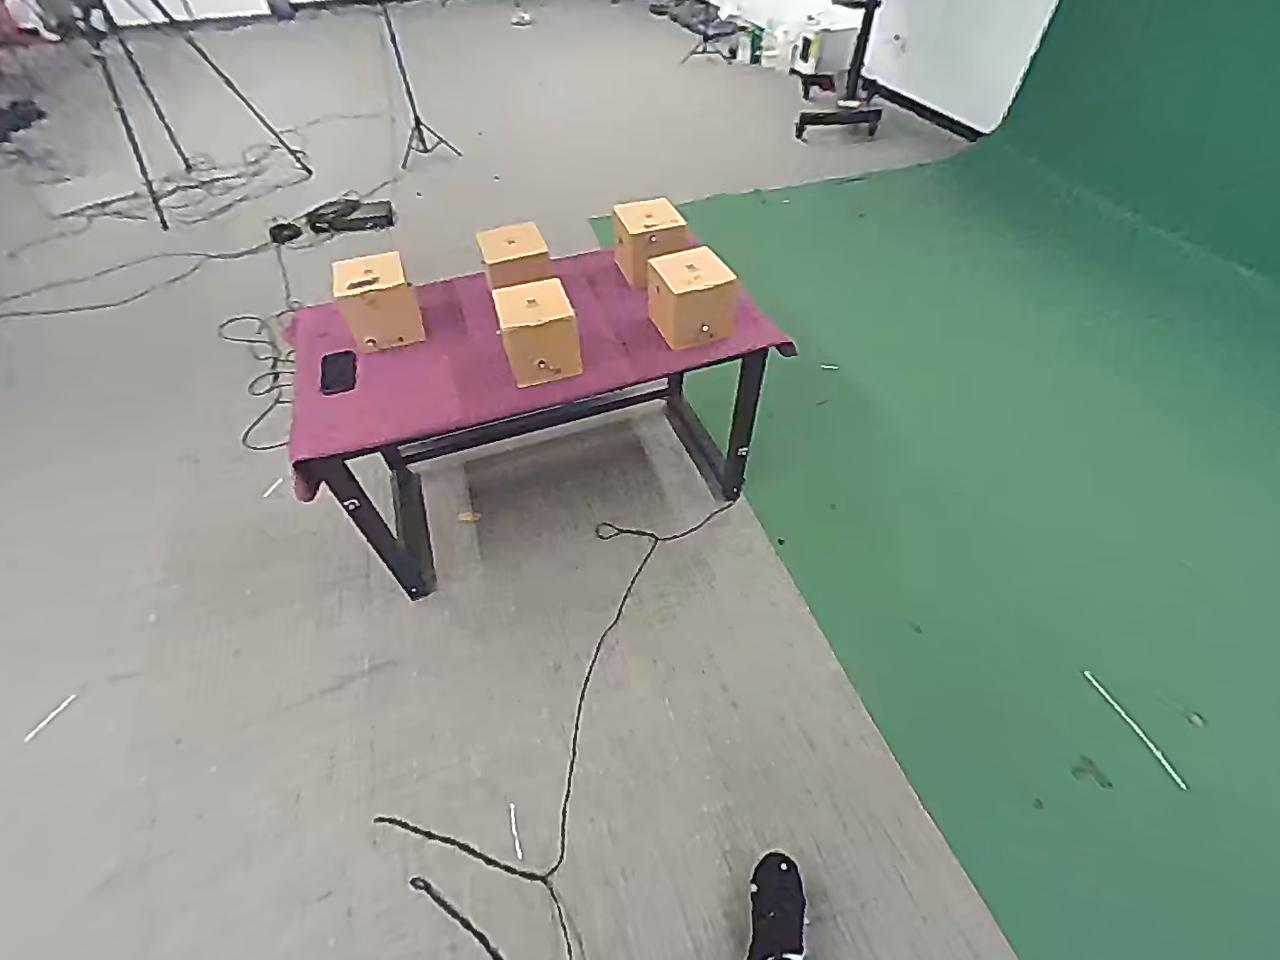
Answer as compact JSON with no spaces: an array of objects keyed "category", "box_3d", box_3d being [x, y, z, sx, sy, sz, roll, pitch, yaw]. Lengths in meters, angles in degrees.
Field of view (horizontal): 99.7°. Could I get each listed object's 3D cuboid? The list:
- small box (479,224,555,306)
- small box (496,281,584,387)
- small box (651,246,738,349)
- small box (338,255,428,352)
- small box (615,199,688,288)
[{"category":"small box","box_3d":[-0.336,-0.578,1.503,0.168,0.176,0.179,-18,53,-11]},{"category":"small box","box_3d":[-0.242,-0.354,1.316,0.168,0.176,0.179,-15,51,-10]},{"category":"small box","box_3d":[0.133,-0.466,1.385,0.168,0.176,0.179,-18,53,-10]},{"category":"small box","box_3d":[-0.669,-0.455,1.415,0.168,0.176,0.179,-17,52,-12]},{"category":"small box","box_3d":[0.031,-0.688,1.574,0.168,0.176,0.179,-16,52,-9]}]
